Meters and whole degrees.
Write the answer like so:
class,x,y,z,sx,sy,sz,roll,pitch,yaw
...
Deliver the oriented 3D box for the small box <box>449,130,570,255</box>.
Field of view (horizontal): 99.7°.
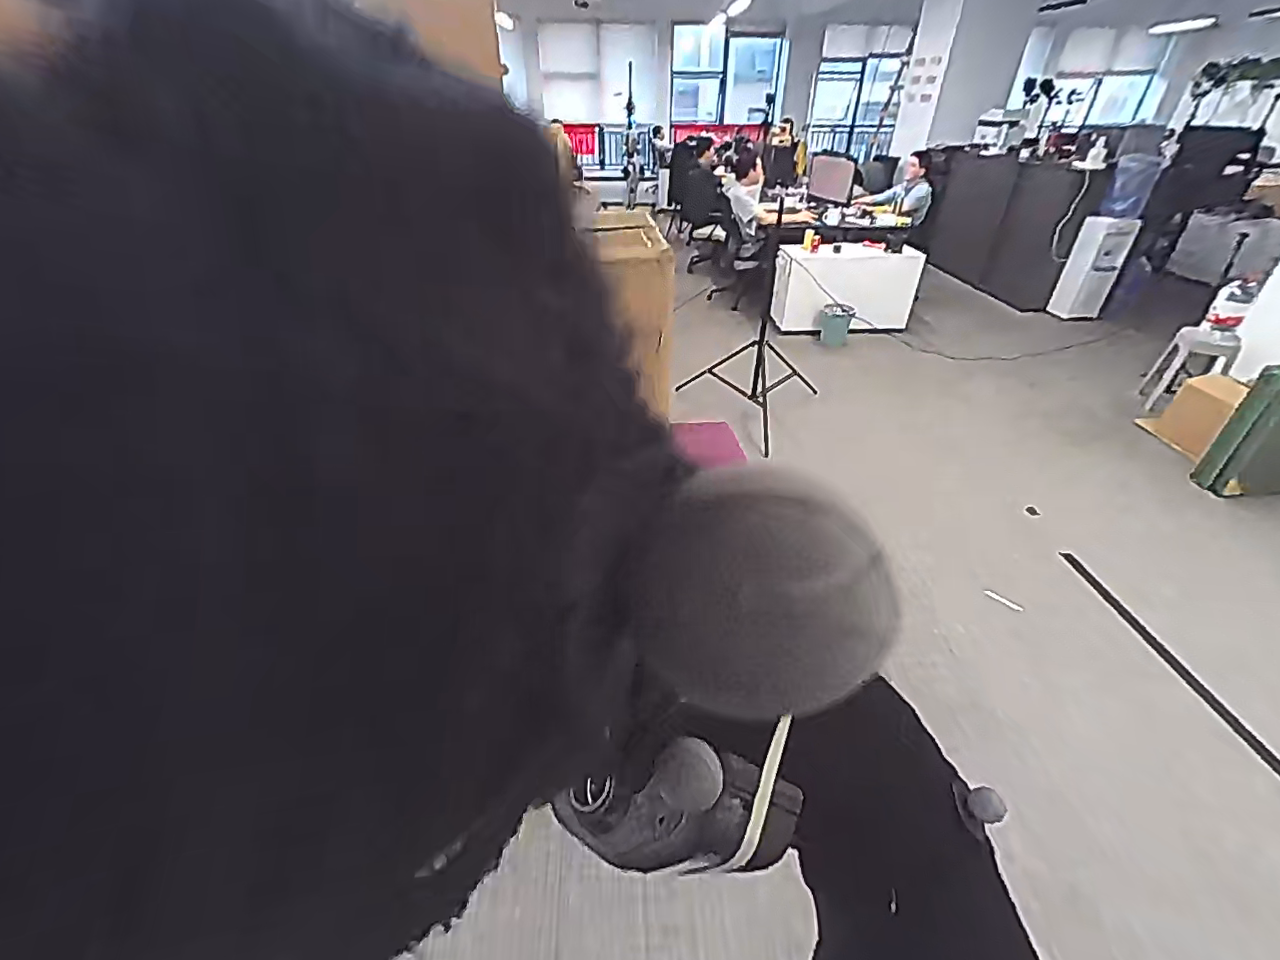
class,x,y,z,sx,sy,sz,roll,pitch,yaw
small box,-0.211,-0.494,0.925,0.168,0.176,0.179,-3,37,-3
